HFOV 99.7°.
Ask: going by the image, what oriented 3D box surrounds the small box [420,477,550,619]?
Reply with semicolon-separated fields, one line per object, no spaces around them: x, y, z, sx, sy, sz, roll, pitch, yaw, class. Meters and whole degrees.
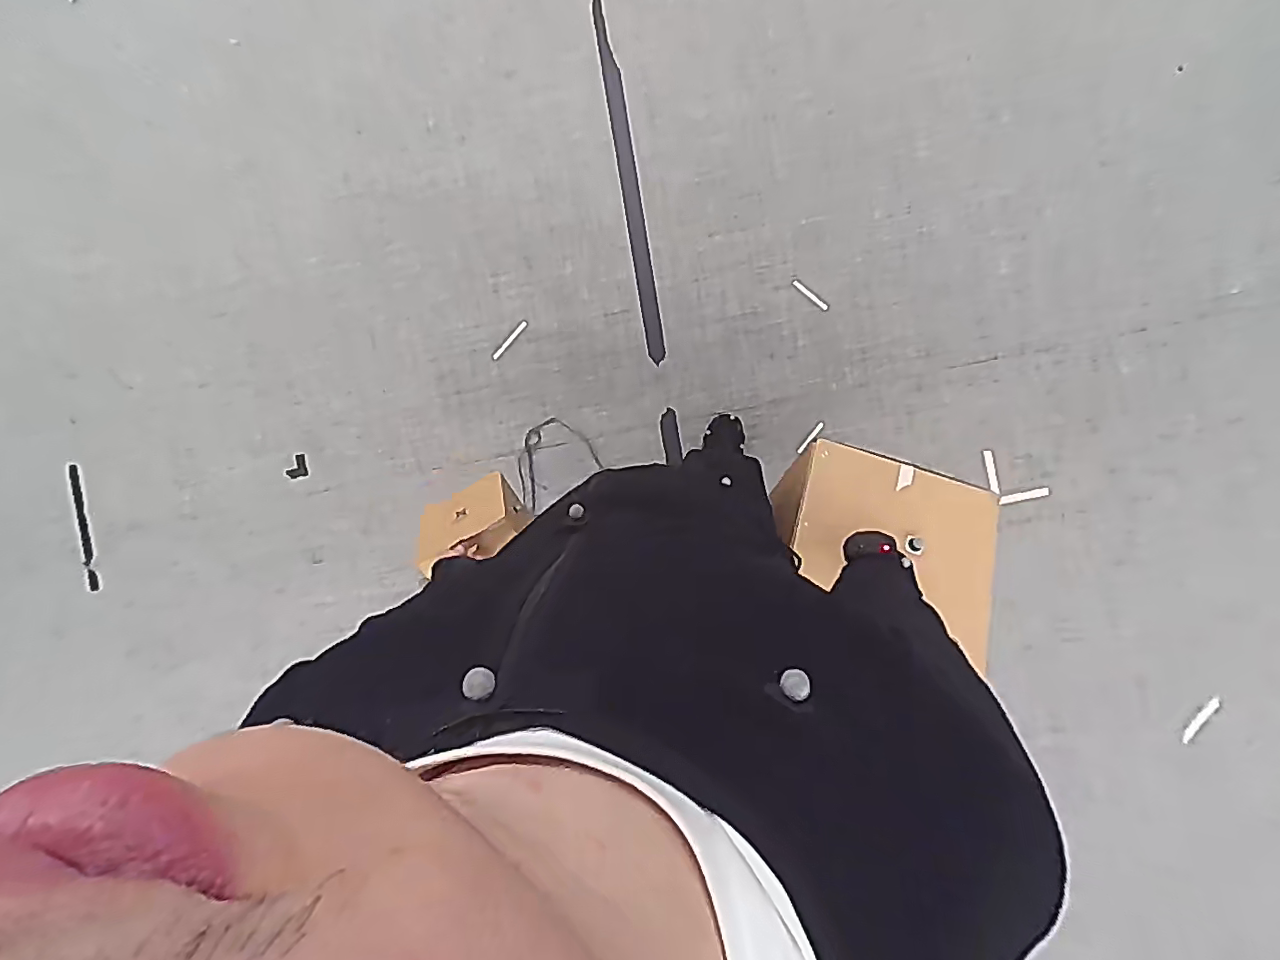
-0.279;0.130;0.995;0.168;0.179;0.176;-27;121;-2;small box
